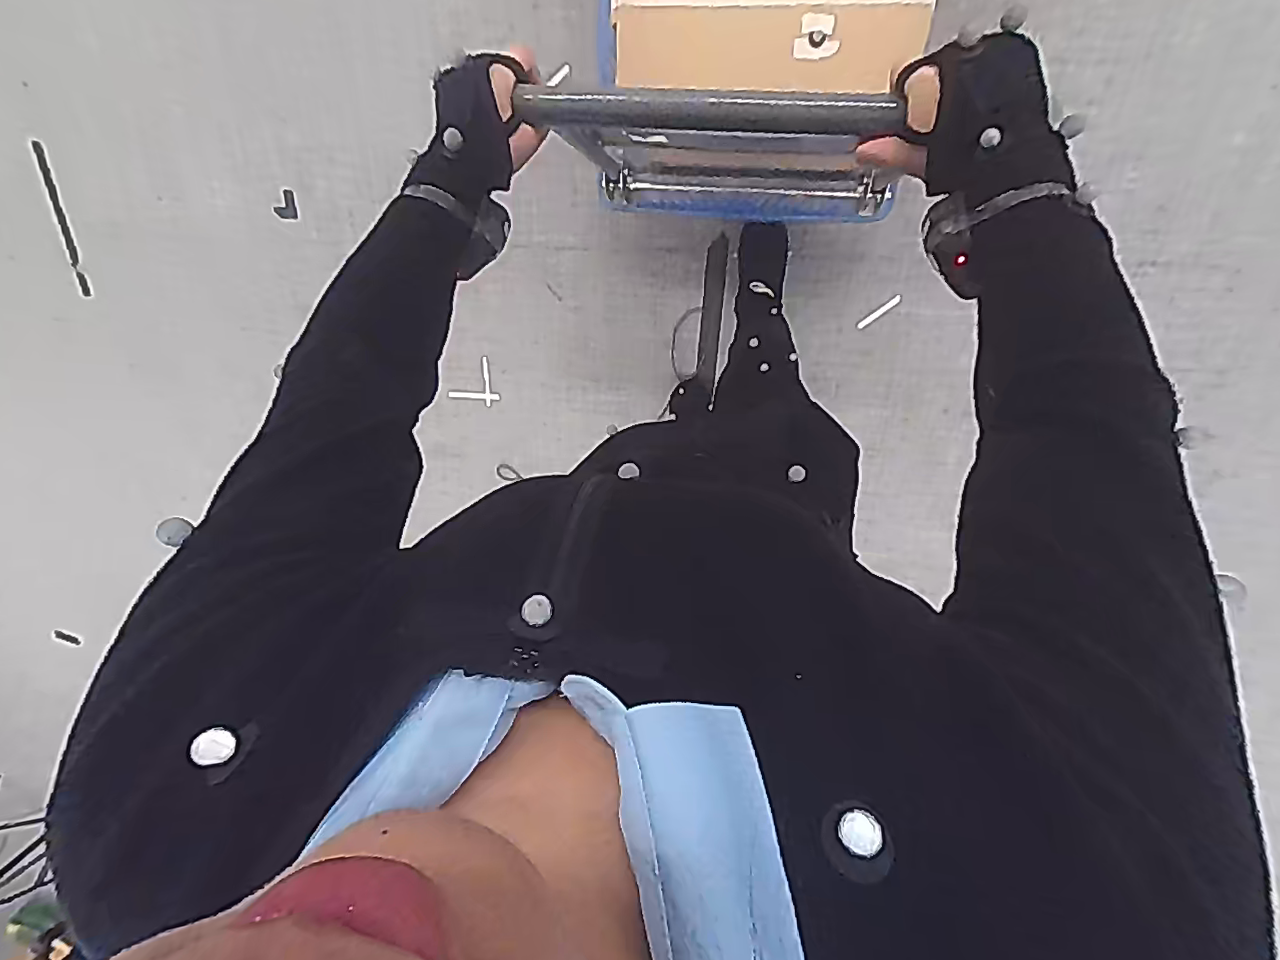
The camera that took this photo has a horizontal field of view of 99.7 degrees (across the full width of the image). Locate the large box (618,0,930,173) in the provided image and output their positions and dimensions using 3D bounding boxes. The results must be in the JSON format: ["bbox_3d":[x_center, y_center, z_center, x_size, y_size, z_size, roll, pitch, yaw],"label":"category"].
[{"bbox_3d":[0.189,-0.675,0.838,0.408,0.320,0.320,6,114,6],"label":"large box"}]
